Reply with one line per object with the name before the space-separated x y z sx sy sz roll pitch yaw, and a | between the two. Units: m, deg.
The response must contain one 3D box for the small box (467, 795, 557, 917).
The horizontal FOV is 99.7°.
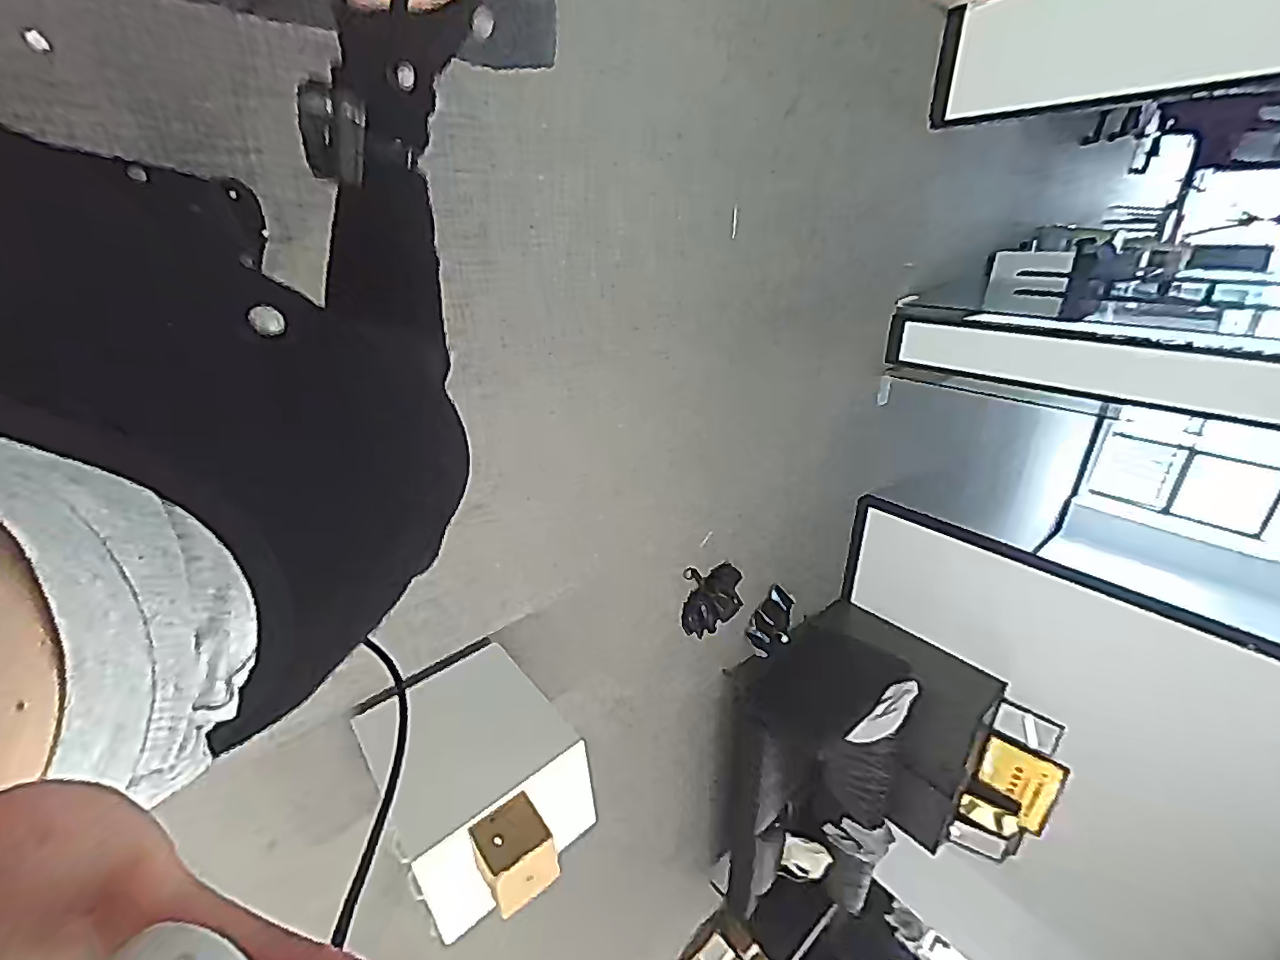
small box | -0.336 0.966 1.411 0.168 0.176 0.179 -21 124 -34
